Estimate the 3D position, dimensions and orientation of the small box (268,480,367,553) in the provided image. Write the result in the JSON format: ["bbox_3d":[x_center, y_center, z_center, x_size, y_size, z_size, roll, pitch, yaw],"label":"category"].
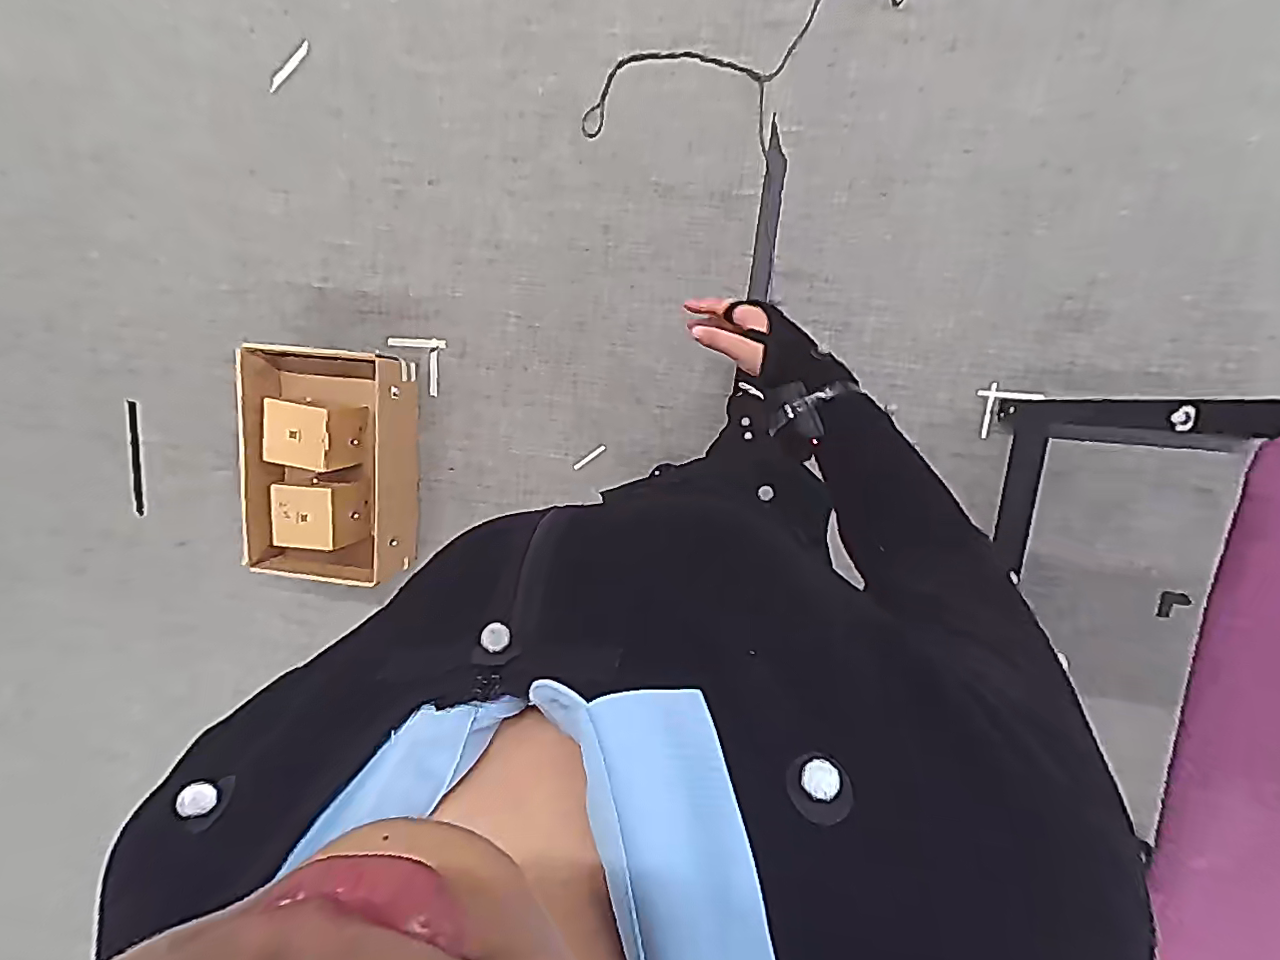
[{"bbox_3d":[-0.876,0.093,1.485,0.179,0.176,0.168,4,97,7],"label":"small box"}]

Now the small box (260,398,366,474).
[{"bbox_3d":[-0.876,-0.123,1.456,0.179,0.176,0.168,11,100,5],"label":"small box"}]
